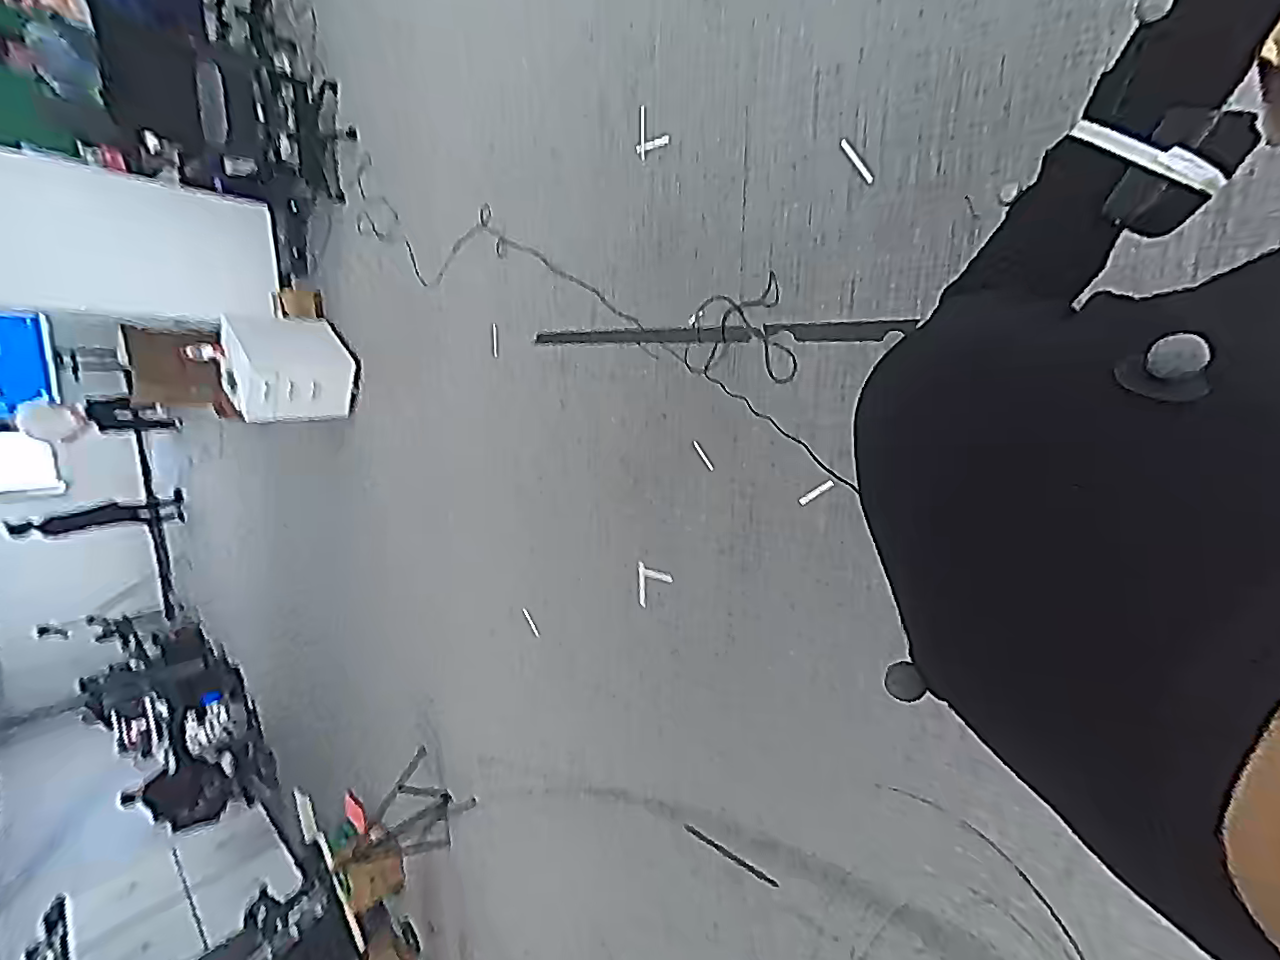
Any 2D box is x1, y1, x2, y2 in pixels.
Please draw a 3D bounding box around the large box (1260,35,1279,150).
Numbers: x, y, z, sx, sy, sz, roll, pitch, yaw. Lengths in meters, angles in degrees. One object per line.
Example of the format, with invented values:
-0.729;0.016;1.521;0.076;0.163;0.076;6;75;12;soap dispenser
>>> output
0.607;-0.273;0.203;0.408;0.320;0.320;42;133;30;large box
